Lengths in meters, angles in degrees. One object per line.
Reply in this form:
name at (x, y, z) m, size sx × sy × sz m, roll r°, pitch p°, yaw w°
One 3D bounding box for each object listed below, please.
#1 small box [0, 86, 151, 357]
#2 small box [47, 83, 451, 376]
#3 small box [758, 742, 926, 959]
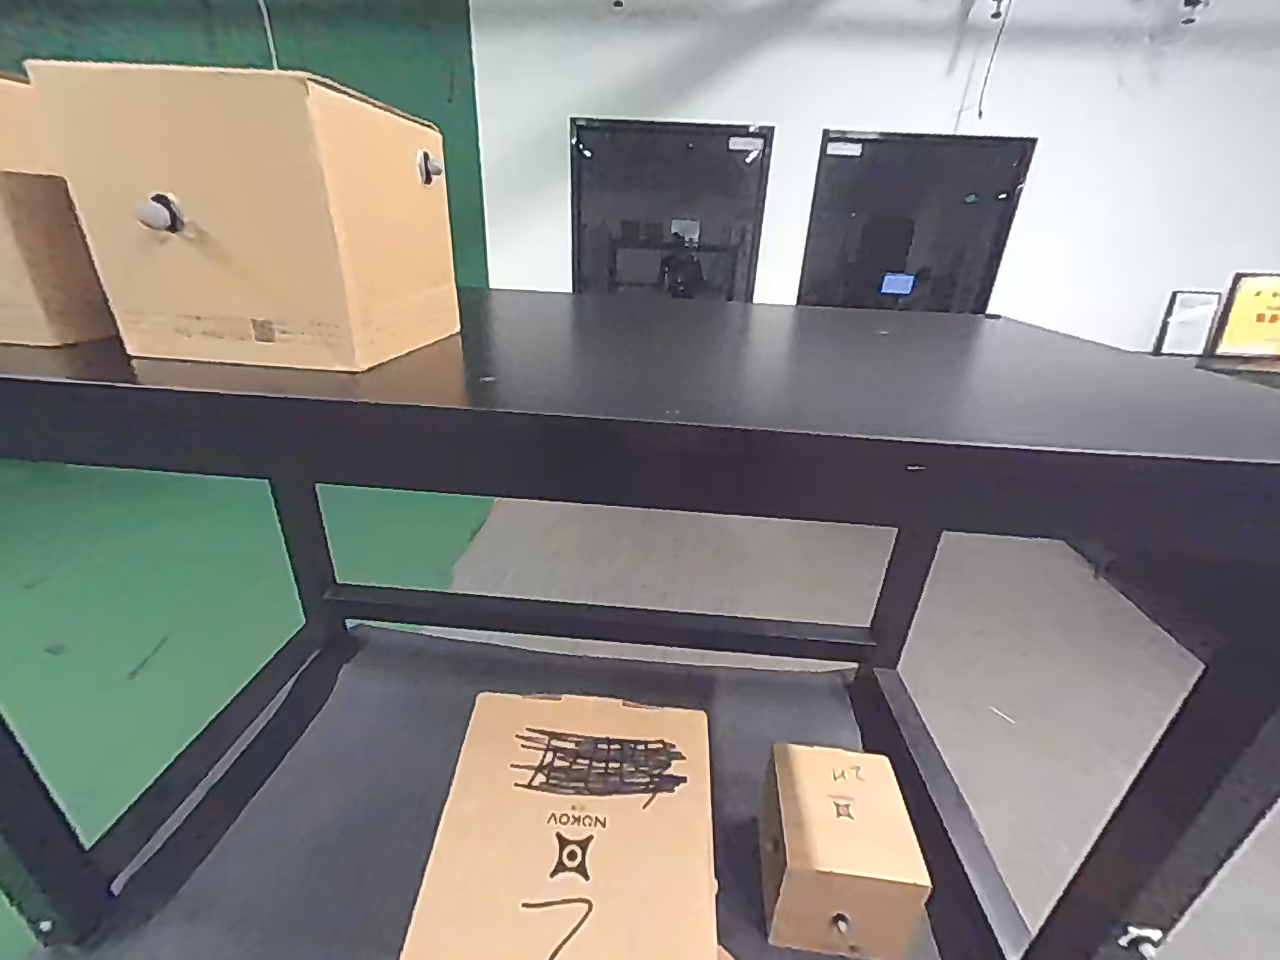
small box at (-0.481, -0.206, 0.439) m, size 0.168 × 0.176 × 0.179 m, roll 5°, pitch 25°, yaw 3°
small box at (-0.258, -0.182, 0.415) m, size 0.168 × 0.176 × 0.179 m, roll 5°, pitch 24°, yaw 4°
small box at (0.257, 0.497, 0.733) m, size 0.168 × 0.176 × 0.179 m, roll 6°, pitch 24°, yaw 6°
